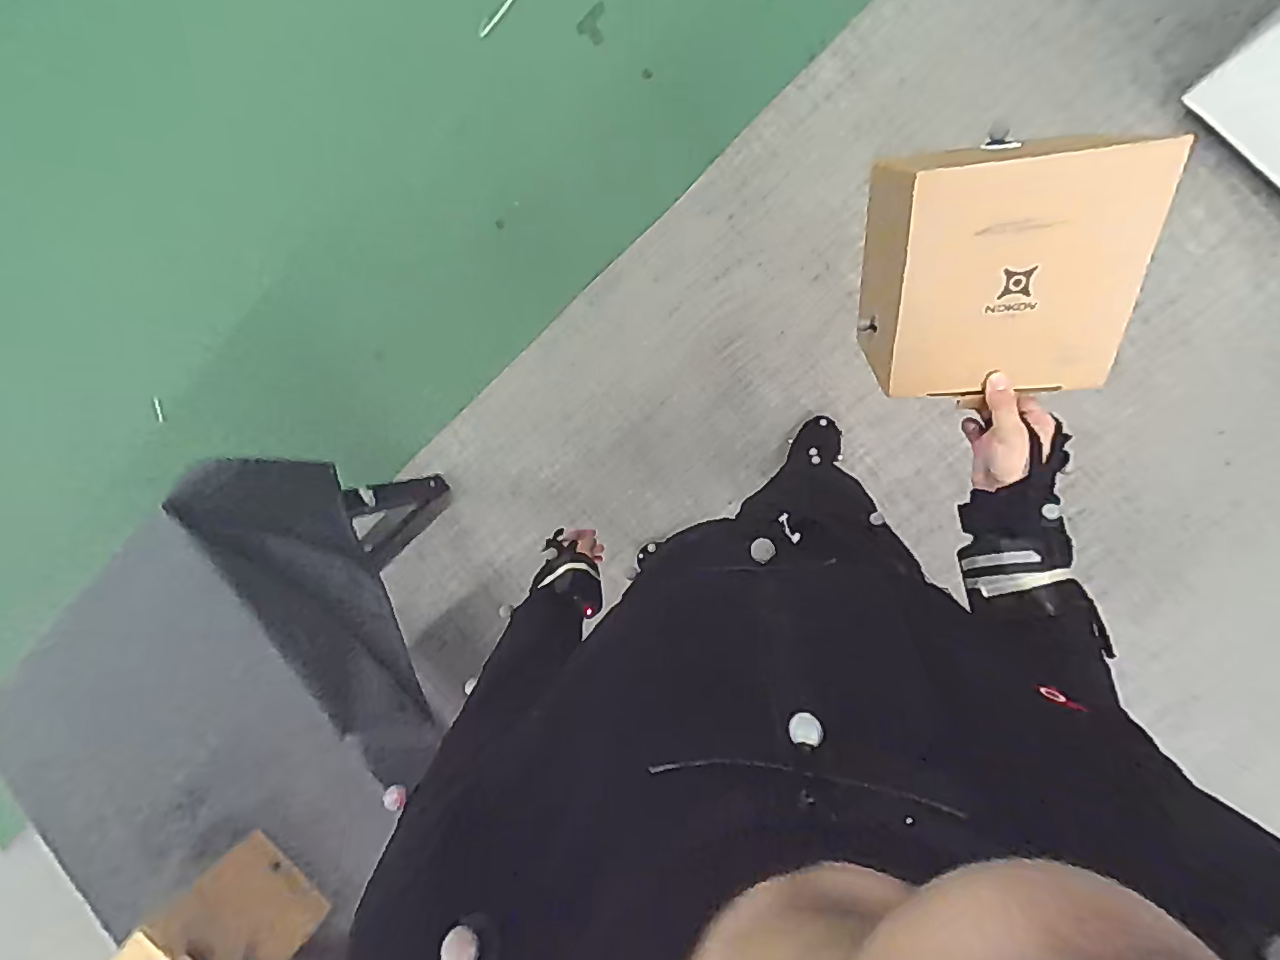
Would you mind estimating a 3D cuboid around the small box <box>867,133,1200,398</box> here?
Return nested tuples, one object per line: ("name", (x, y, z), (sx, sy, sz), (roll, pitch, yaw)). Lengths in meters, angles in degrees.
("small box", (0.302, -0.188, 0.470), (0.168, 0.176, 0.179), (-2, 121, 12))
